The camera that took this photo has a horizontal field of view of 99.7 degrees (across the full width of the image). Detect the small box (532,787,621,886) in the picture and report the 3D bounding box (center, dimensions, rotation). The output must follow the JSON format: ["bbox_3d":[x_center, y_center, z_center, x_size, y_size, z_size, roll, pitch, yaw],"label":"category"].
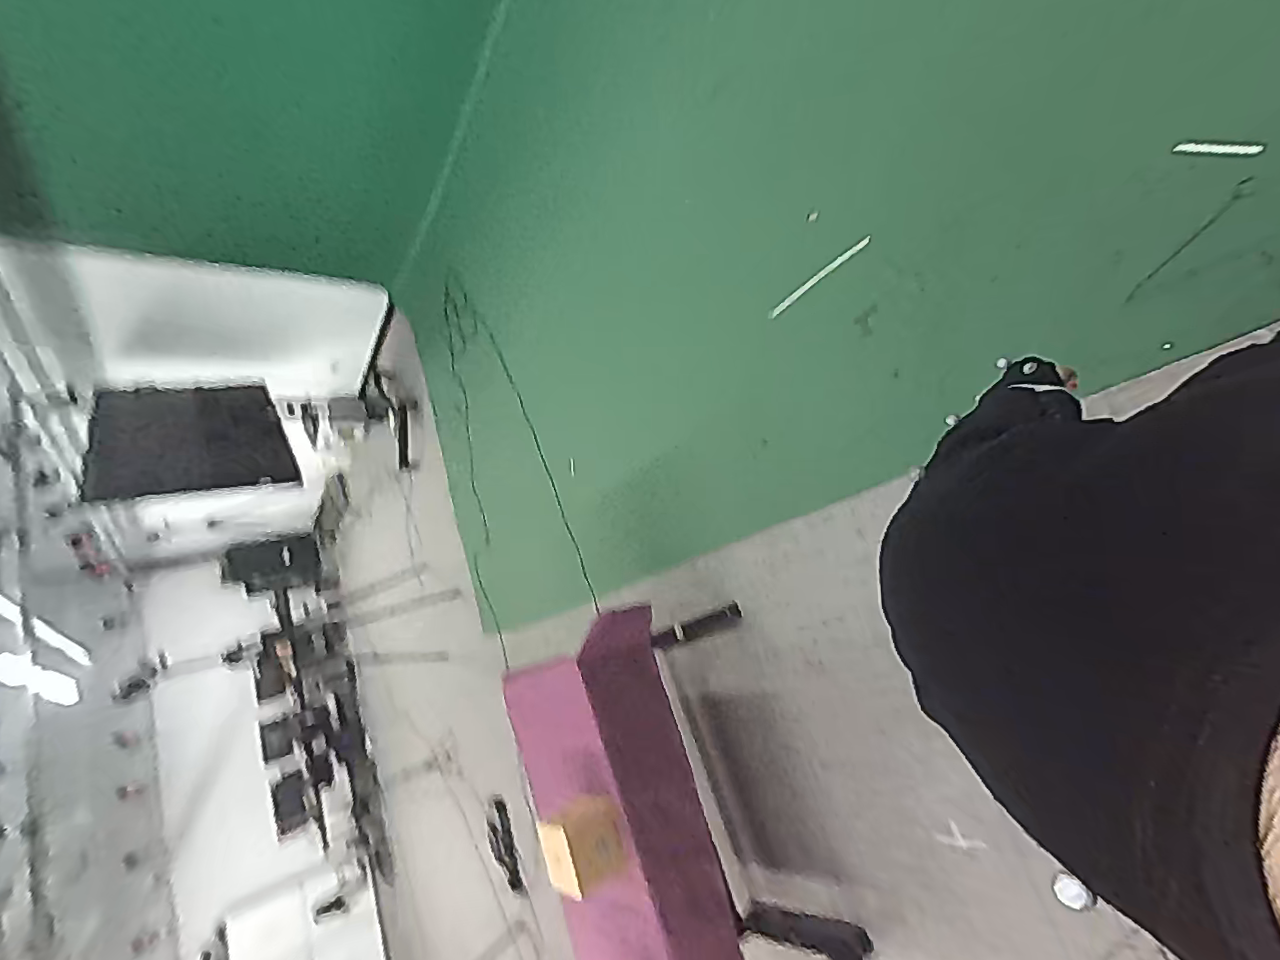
[{"bbox_3d":[-0.170,0.978,1.500,0.179,0.176,0.168,-32,71,48],"label":"small box"}]
